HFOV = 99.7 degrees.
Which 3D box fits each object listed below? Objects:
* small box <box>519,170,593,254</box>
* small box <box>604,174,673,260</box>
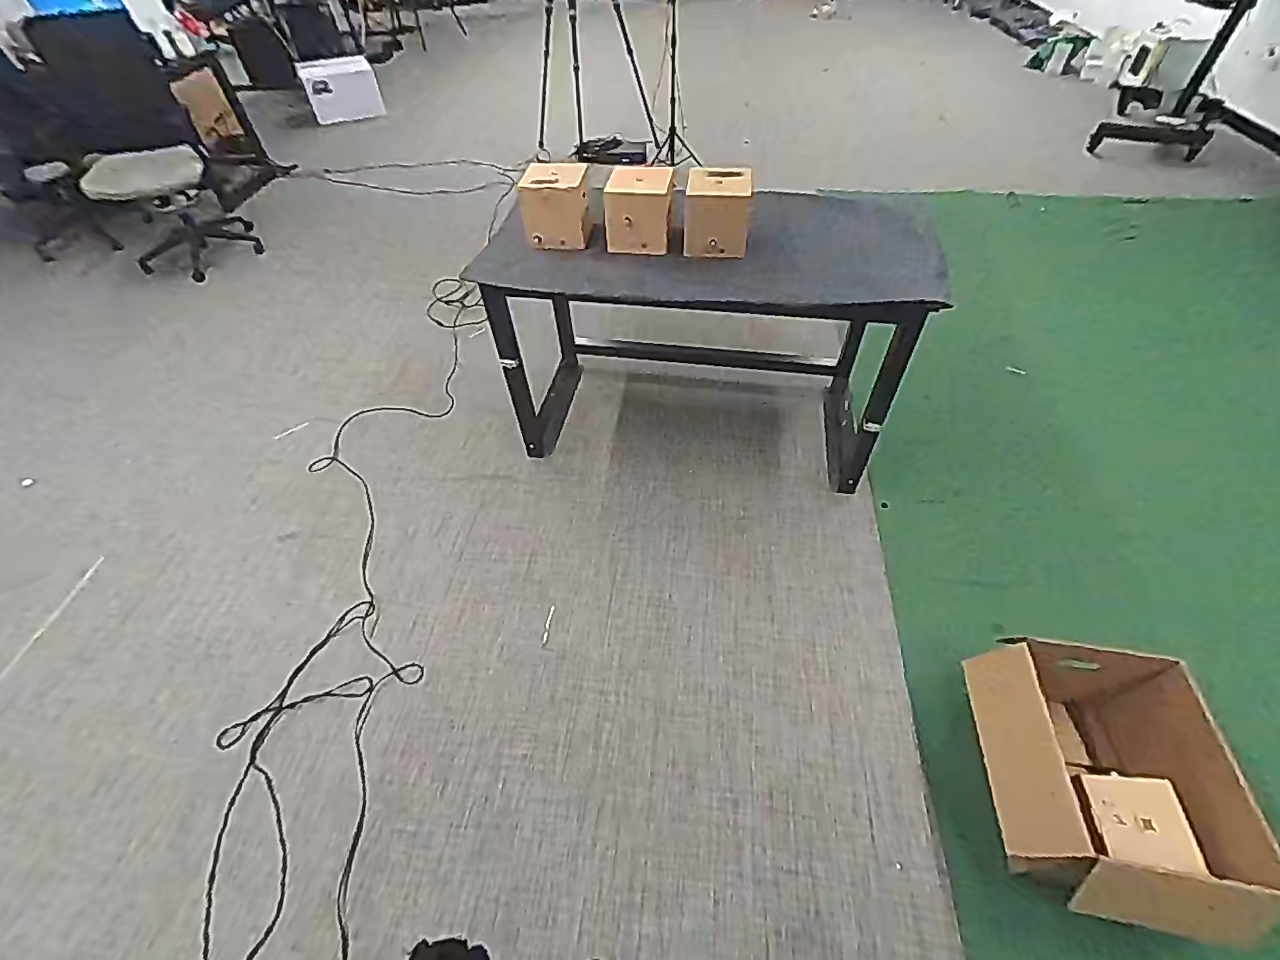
[{"bbox_3d":[-0.231,-0.759,1.537,0.168,0.176,0.179,3,48,5],"label":"small box"},{"bbox_3d":[0.002,-0.732,1.506,0.168,0.176,0.179,5,49,7],"label":"small box"}]
